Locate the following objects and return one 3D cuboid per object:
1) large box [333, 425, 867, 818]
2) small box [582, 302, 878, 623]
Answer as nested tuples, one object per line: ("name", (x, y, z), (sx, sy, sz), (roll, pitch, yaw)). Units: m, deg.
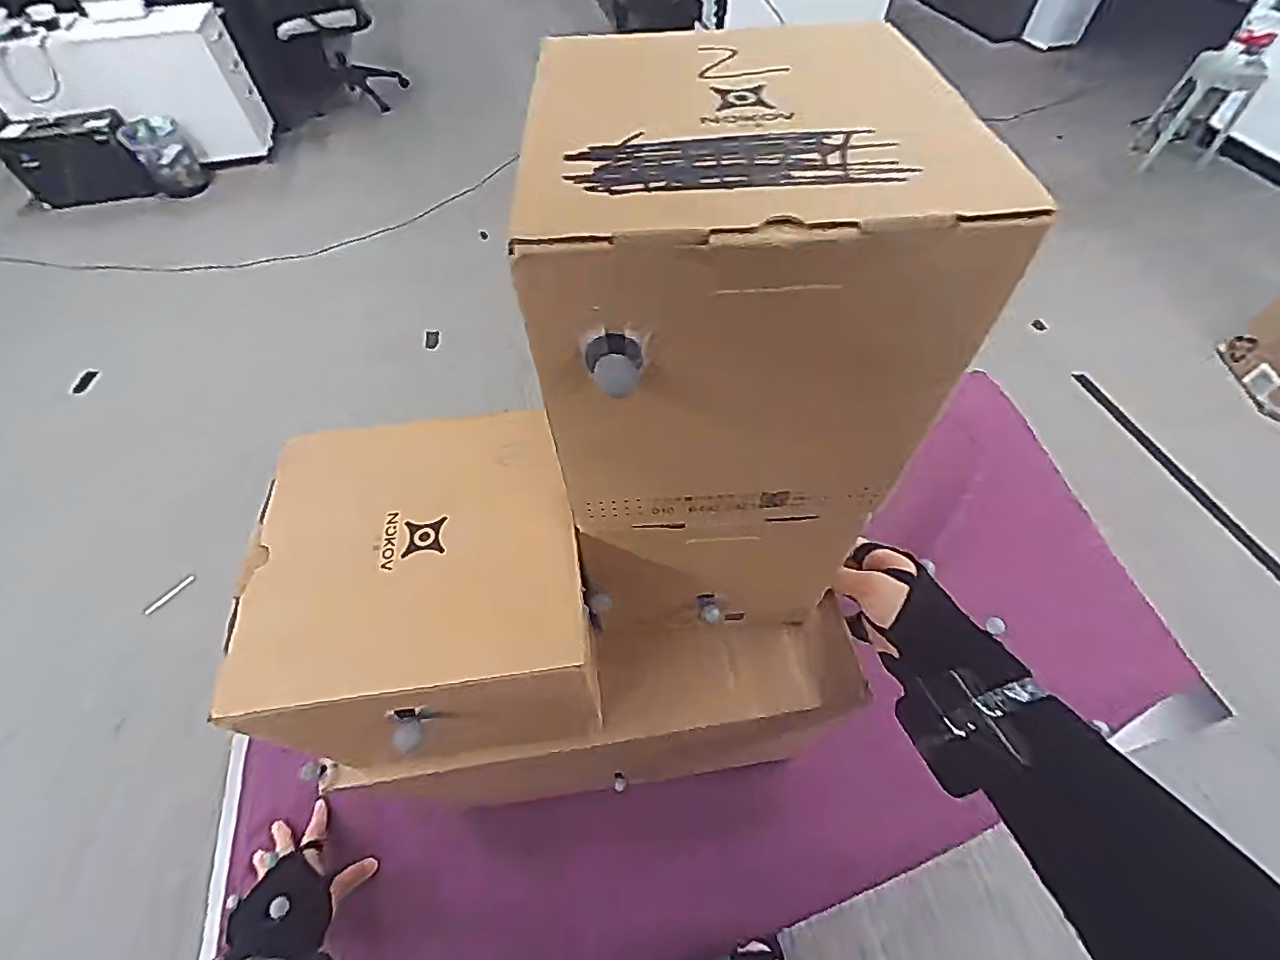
("large box", (-0.041, 0.152, 0.597), (0.408, 0.320, 0.320), (-9, 54, -4))
("small box", (0.048, -0.008, 0.408), (0.168, 0.176, 0.179), (-4, 55, 0))
